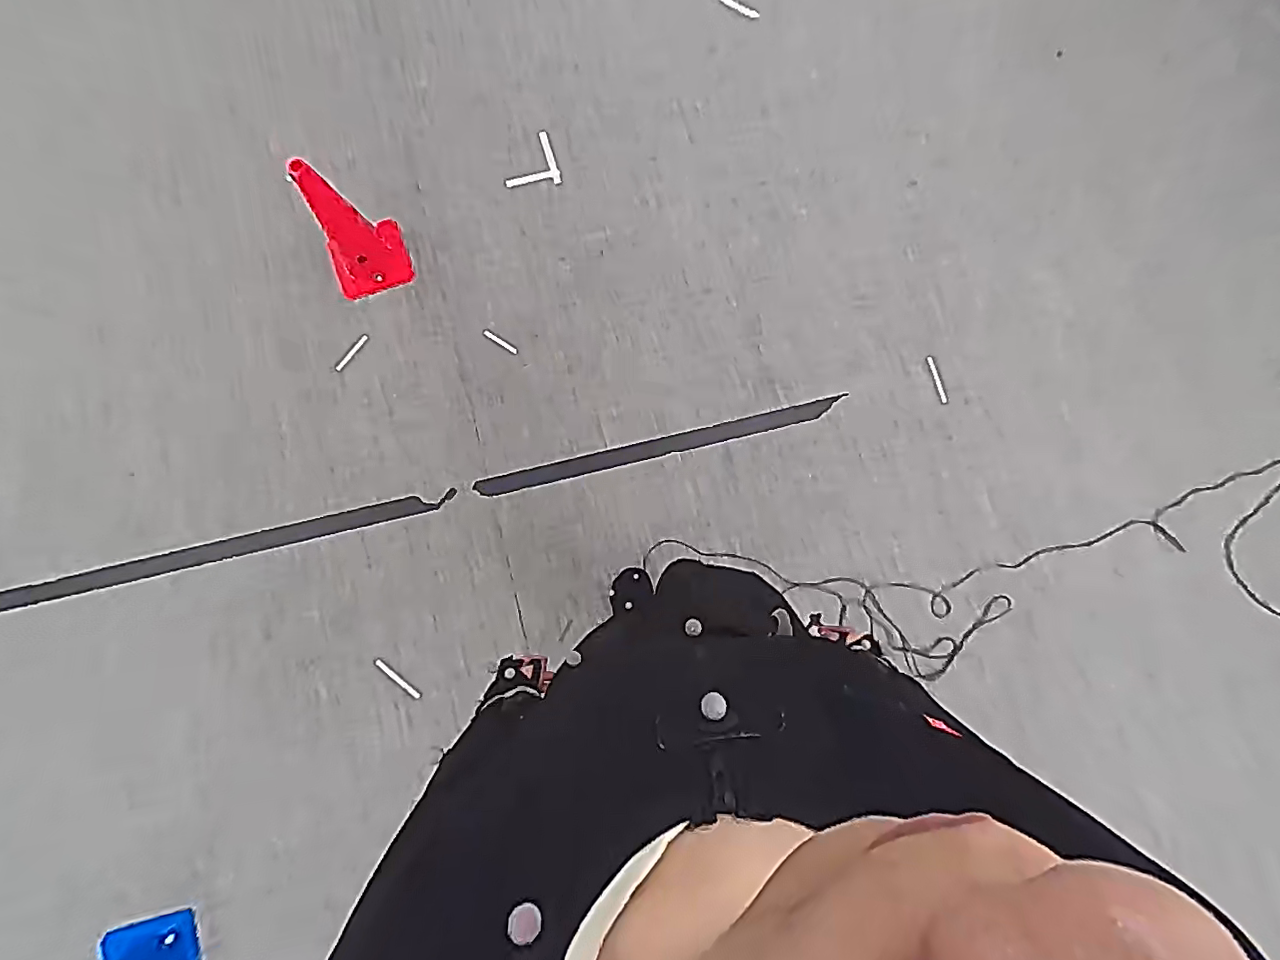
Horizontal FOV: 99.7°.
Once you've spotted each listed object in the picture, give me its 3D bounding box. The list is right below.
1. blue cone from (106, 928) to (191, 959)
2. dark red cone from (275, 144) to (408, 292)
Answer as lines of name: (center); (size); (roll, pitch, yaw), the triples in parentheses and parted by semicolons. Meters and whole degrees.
blue cone: (-1.063, 1.074, 1.019); (0.193, 0.380, 0.192); (-13, 83, -4)
dark red cone: (-0.732, -0.635, 1.282); (0.202, 0.394, 0.201); (-22, 83, -6)
